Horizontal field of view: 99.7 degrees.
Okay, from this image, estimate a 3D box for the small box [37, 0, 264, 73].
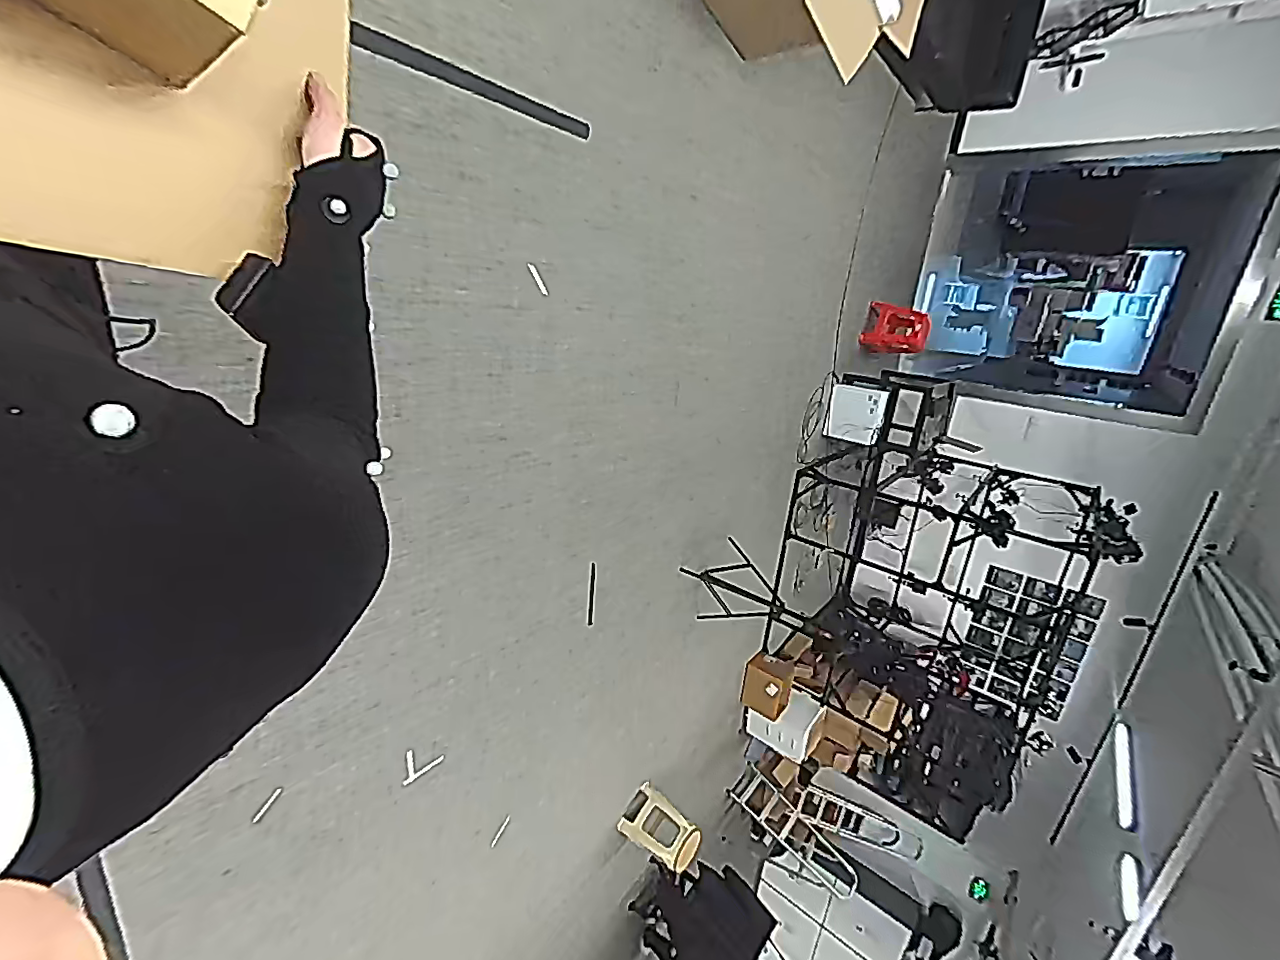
[{"bbox_3d":[-0.338,-0.393,0.329,0.179,0.176,0.168,16,92,-51],"label":"small box"}]
